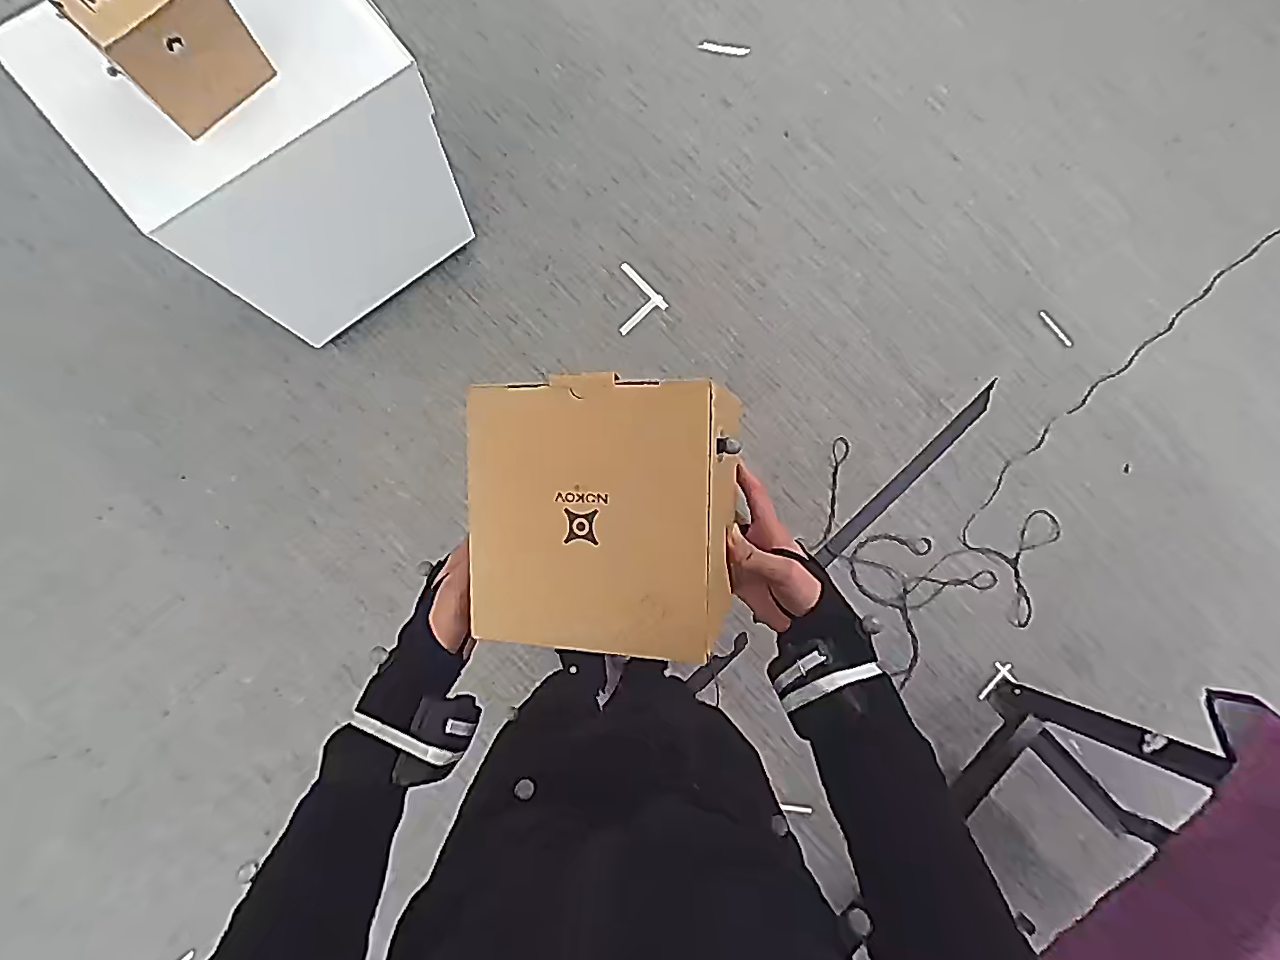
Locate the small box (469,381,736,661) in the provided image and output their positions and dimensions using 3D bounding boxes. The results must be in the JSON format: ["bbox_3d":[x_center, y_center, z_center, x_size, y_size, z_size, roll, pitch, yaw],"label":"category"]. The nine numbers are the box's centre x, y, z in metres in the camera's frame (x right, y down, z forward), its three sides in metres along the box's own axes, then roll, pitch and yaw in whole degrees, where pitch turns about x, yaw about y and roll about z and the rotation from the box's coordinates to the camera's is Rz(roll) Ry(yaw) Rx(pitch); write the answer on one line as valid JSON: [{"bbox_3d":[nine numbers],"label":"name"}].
[{"bbox_3d":[-0.016,0.019,0.426,0.168,0.176,0.179,1,93,15],"label":"small box"}]

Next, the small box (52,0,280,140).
[{"bbox_3d":[-0.690,-0.658,0.798,0.168,0.176,0.179,43,81,-1],"label":"small box"}]
